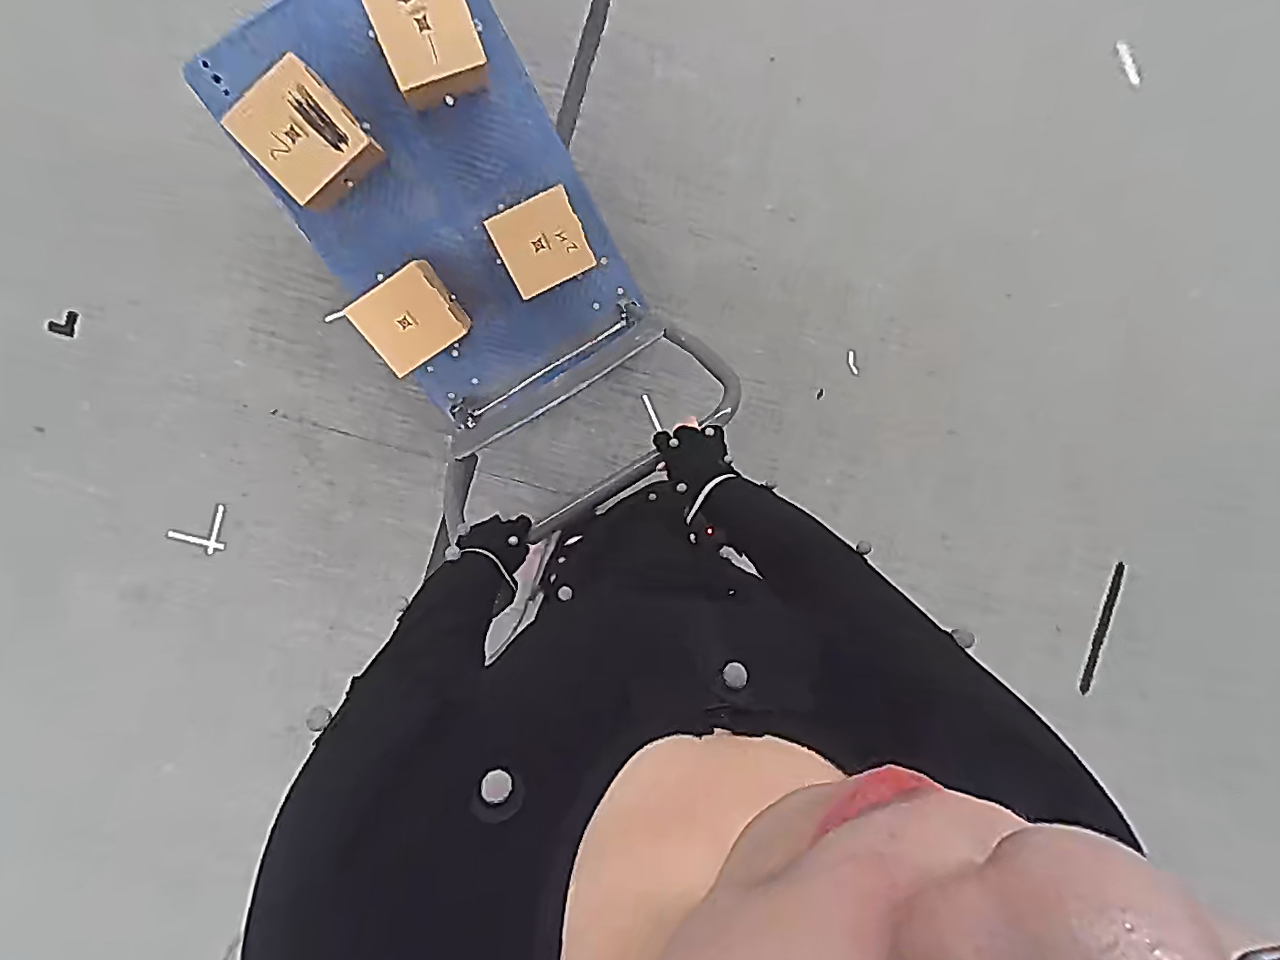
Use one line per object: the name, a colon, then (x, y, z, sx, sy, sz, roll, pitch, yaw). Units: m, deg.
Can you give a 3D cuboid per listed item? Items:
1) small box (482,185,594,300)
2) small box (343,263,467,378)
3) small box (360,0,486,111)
small box: (-0.218, -0.507, 1.166, 0.179, 0.176, 0.168, -27, 116, -2)
small box: (-0.492, -0.346, 1.166, 0.179, 0.176, 0.168, -35, 116, 0)
small box: (-0.396, -0.817, 0.994, 0.168, 0.176, 0.179, -22, 116, -4)
